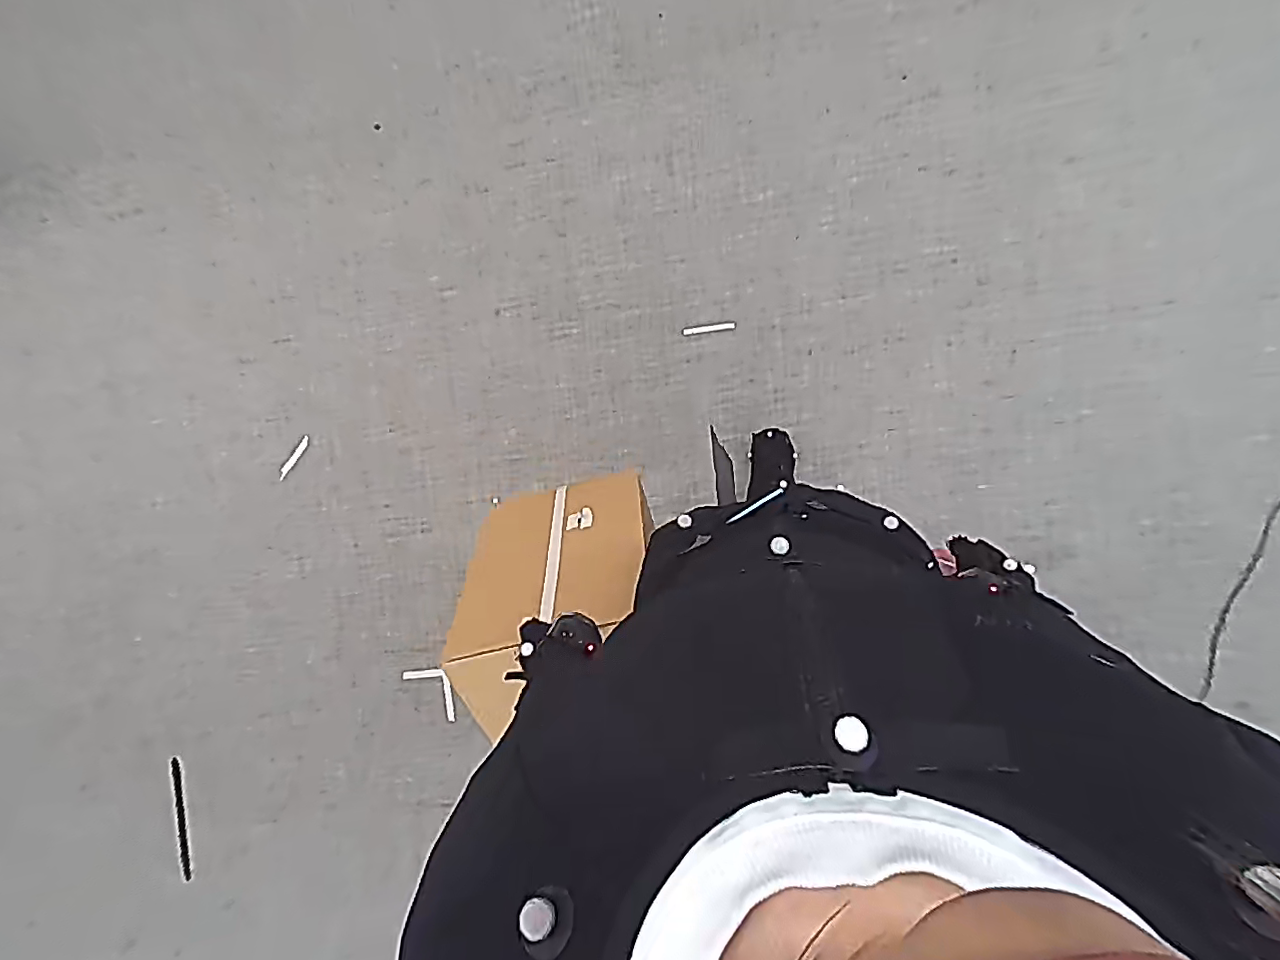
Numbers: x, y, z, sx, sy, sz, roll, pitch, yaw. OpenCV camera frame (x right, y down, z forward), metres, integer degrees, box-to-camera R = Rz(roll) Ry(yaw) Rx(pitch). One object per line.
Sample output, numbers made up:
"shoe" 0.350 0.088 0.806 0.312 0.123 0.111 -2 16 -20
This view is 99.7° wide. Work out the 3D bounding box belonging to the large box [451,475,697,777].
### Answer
"large box" -0.101 0.249 1.003 0.320 0.408 0.320 -14 119 4
